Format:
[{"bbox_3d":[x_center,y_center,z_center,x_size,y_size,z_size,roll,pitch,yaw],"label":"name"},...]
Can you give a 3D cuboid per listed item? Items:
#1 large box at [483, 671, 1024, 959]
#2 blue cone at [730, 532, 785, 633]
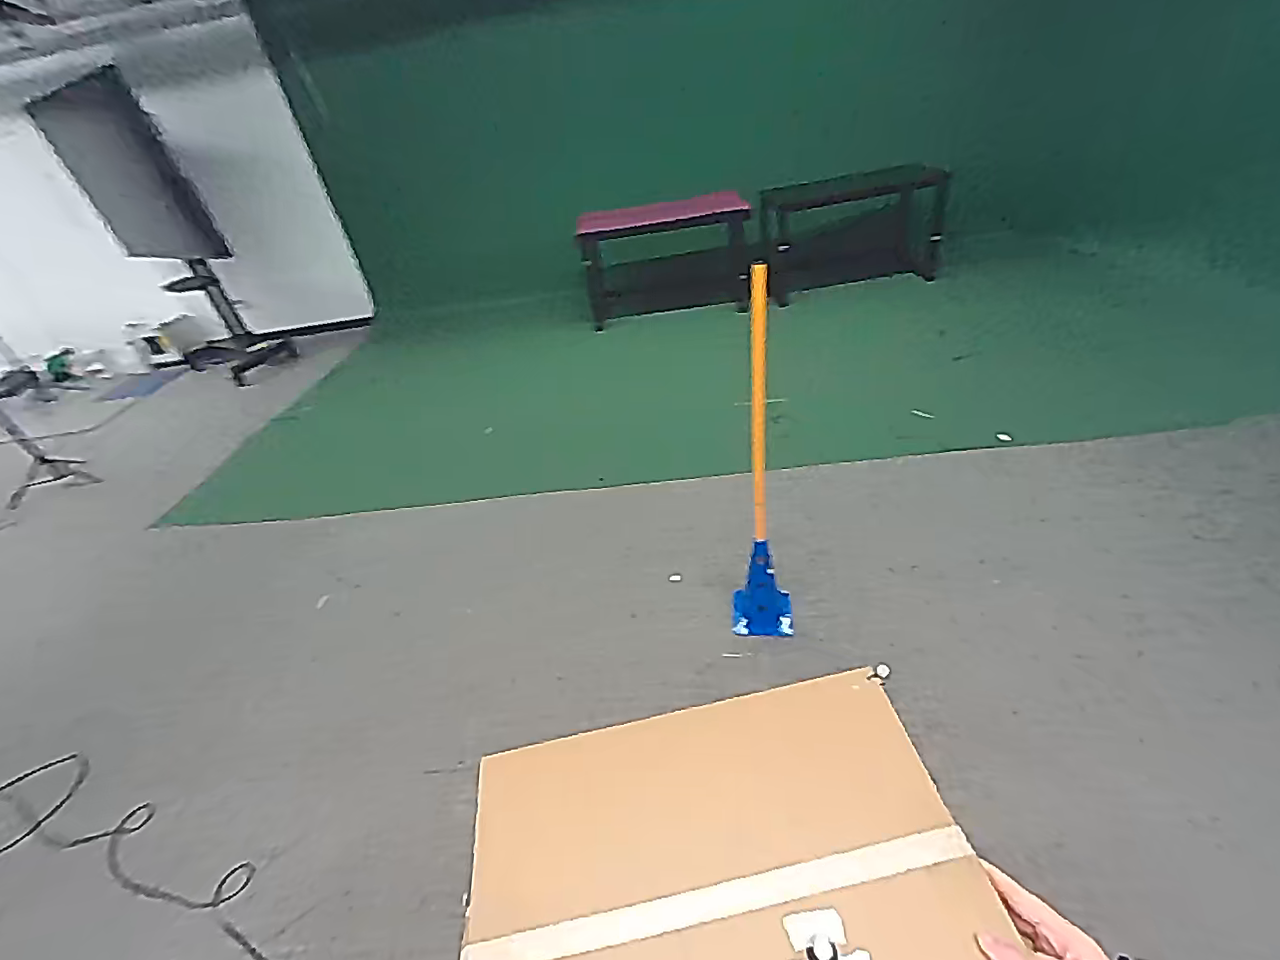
[{"bbox_3d":[0.088,0.445,0.530,0.408,0.320,0.320,-12,41,-1],"label":"large box"},{"bbox_3d":[0.392,0.332,1.817,0.193,0.380,0.192,-1,36,13],"label":"blue cone"}]
